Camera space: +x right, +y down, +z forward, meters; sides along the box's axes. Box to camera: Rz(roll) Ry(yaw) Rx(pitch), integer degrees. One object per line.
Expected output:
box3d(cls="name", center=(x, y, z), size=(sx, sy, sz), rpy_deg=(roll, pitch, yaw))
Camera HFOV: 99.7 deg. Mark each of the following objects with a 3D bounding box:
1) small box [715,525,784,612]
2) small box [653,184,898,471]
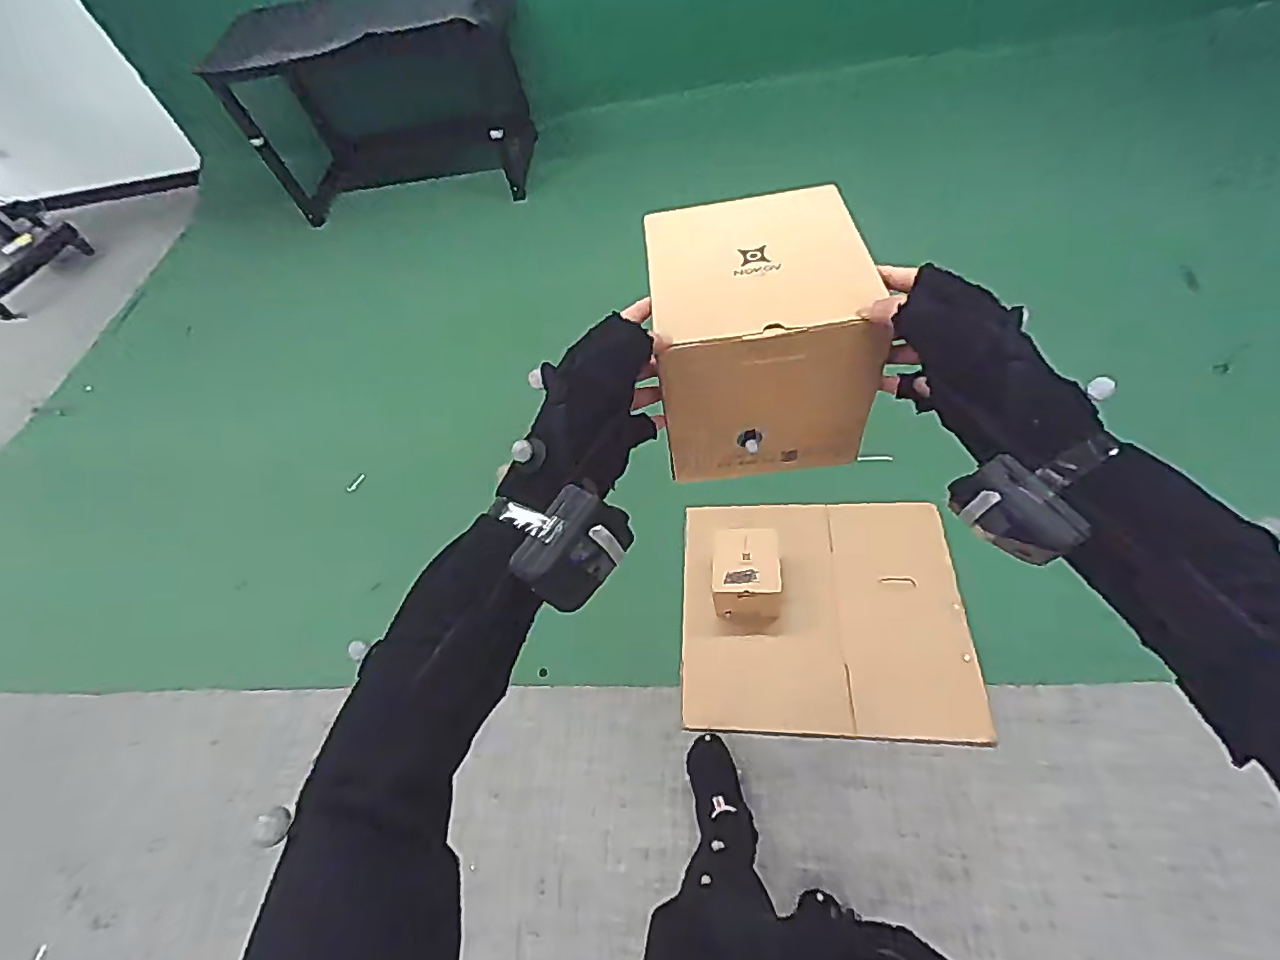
box3d(cls="small box", center=(0.285, 0.232, 1.392), size=(0.168, 0.176, 0.179), rpy_deg=(-1, 57, 12))
box3d(cls="small box", center=(0.102, -0.130, 0.486), size=(0.168, 0.176, 0.179), rpy_deg=(-6, 55, 5))
